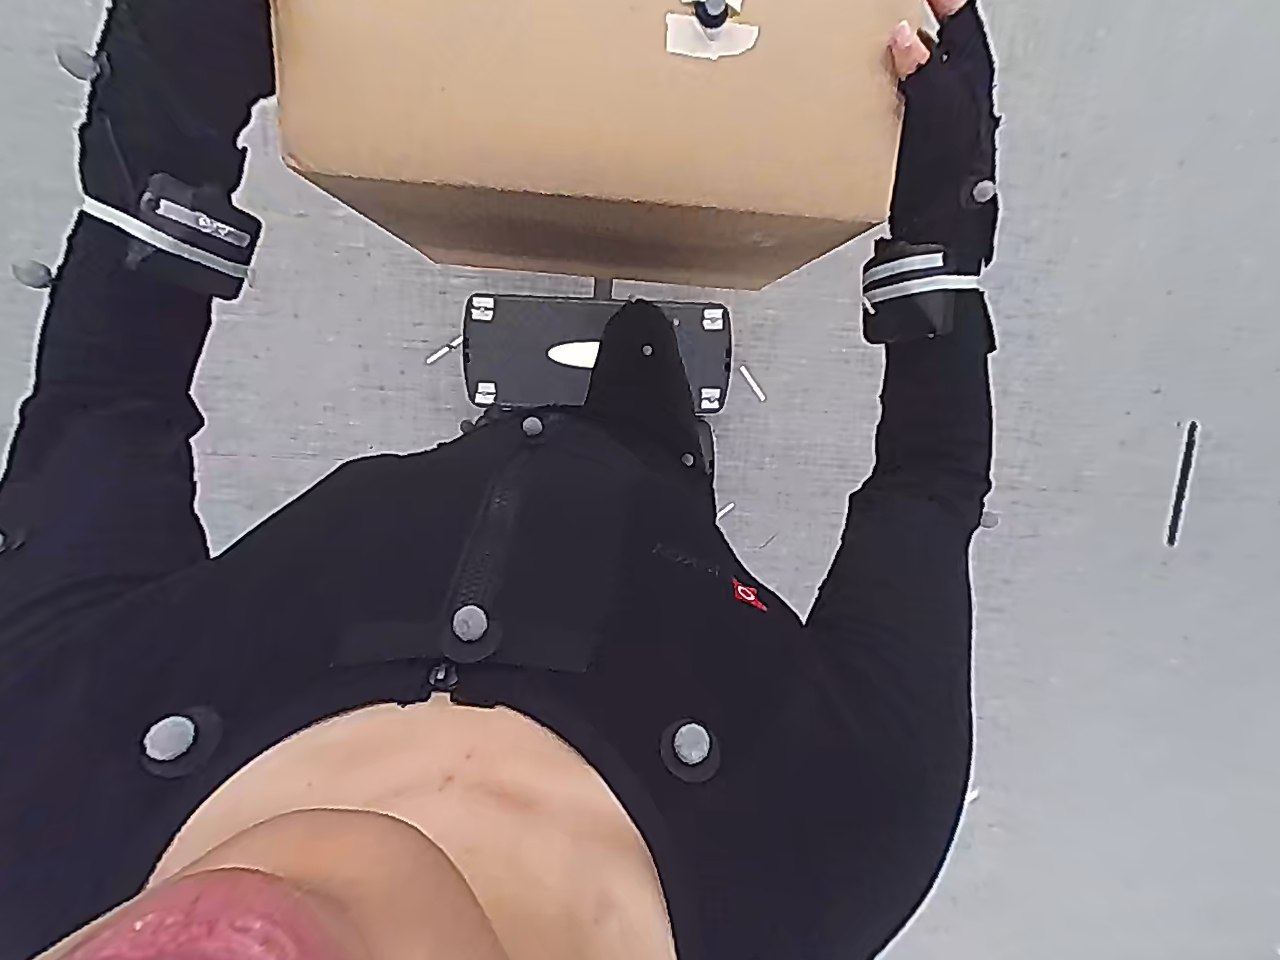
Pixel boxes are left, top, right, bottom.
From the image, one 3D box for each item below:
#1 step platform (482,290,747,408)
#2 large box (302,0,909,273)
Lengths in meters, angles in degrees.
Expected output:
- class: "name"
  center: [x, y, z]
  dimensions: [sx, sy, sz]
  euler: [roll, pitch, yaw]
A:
- class: "step platform"
  center: [-0.064, -0.340, 1.431]
  dimensions: [0.684, 0.204, 0.286]
  euler: [0, 99, -4]
- class: "large box"
  center: [-0.026, -0.385, 0.491]
  dimensions: [0.408, 0.320, 0.320]
  euler: [2, 102, -5]
